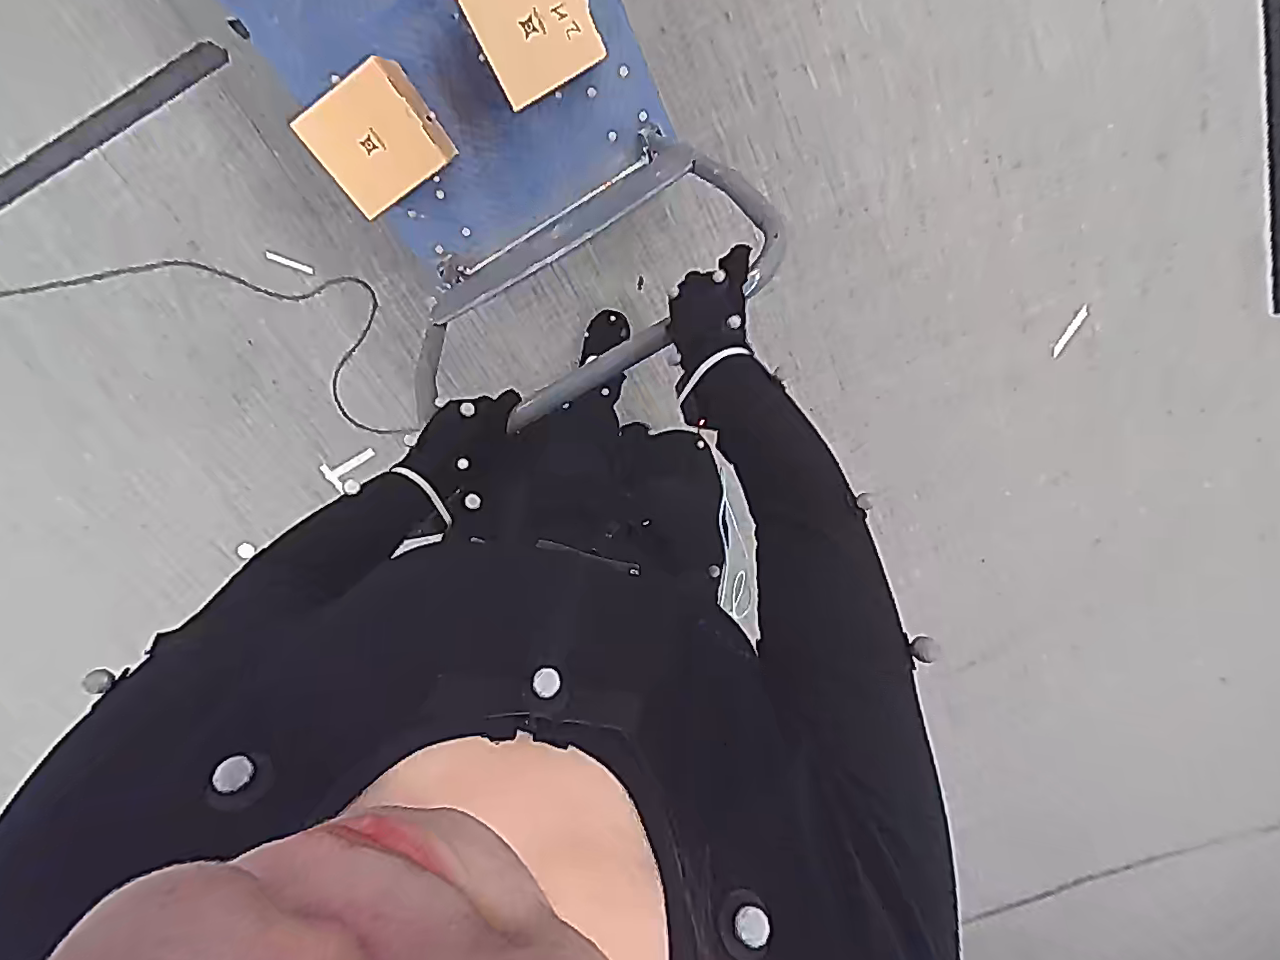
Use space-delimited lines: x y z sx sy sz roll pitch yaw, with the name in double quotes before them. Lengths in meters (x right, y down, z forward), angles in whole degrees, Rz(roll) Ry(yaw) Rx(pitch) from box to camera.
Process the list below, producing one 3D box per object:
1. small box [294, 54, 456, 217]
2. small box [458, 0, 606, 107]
"small box" -0.445 -0.594 0.944 0.179 0.176 0.168 -31 124 10
"small box" -0.172 -0.744 0.887 0.179 0.176 0.168 -26 126 8
